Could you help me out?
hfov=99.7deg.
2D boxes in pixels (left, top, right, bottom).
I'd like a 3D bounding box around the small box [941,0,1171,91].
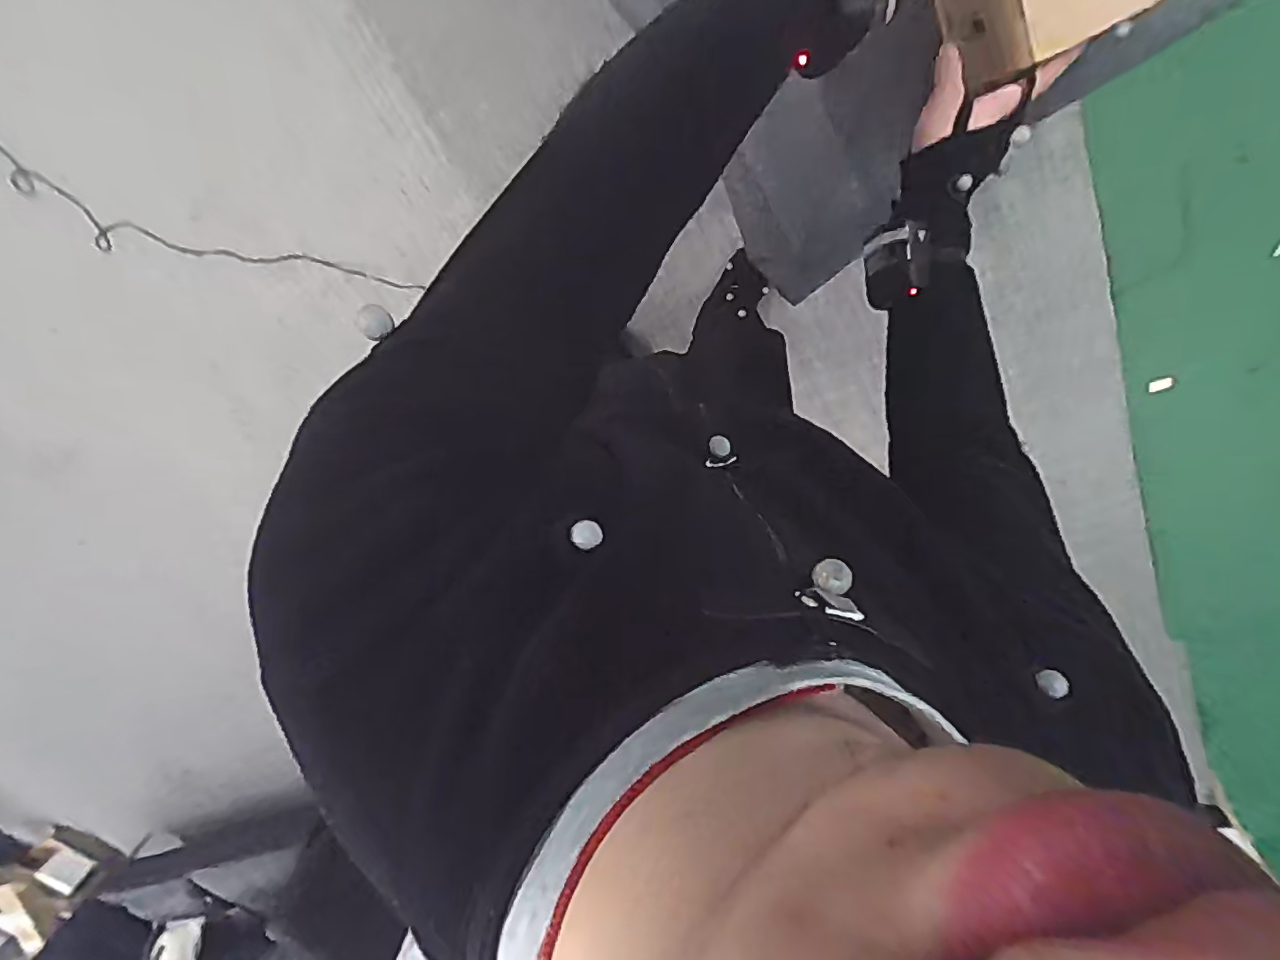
[{"bbox_3d":[0.354,-0.451,0.434,0.179,0.176,0.168,-22,115,19],"label":"small box"}]
